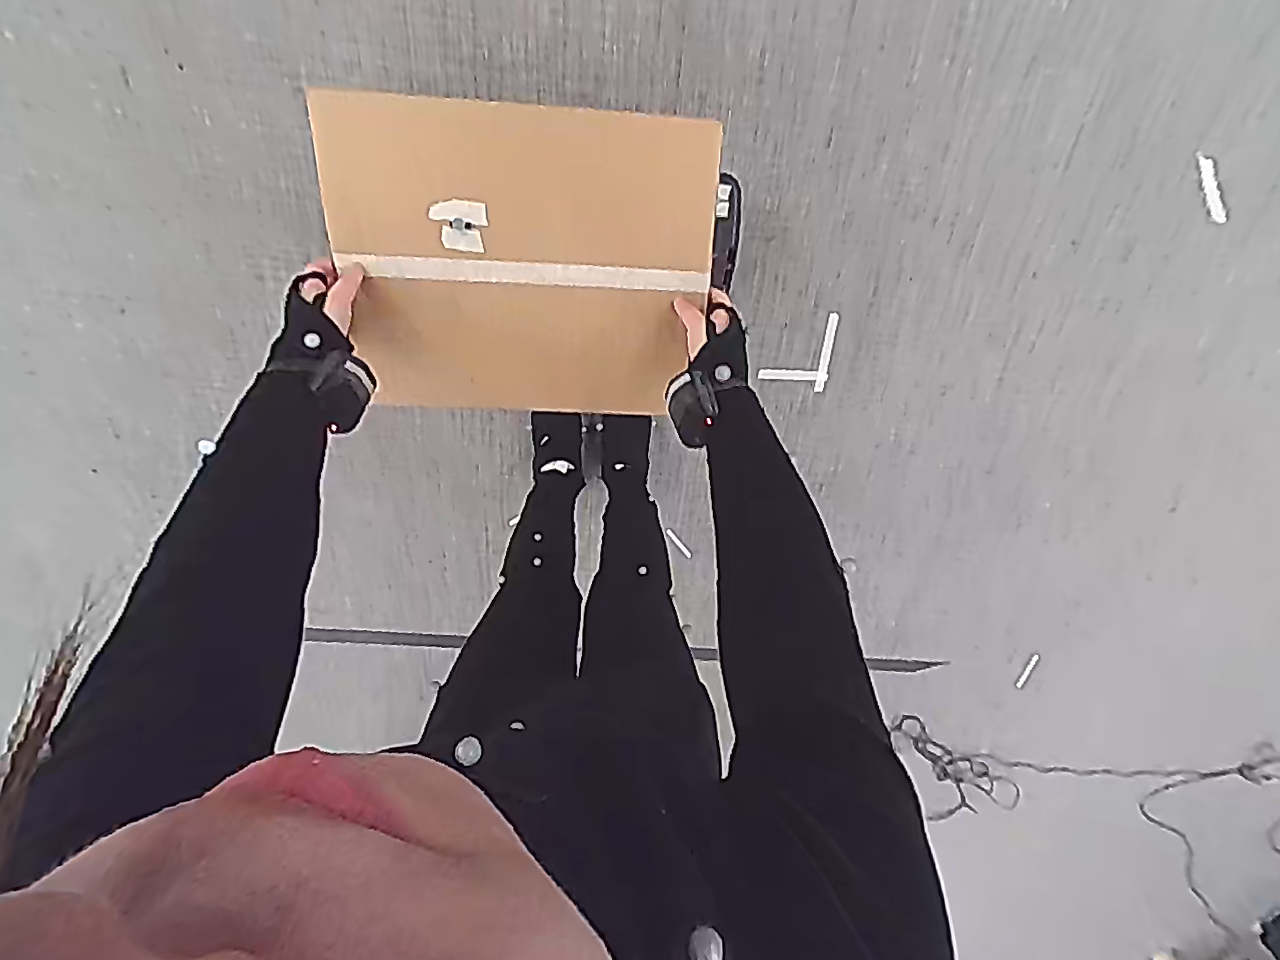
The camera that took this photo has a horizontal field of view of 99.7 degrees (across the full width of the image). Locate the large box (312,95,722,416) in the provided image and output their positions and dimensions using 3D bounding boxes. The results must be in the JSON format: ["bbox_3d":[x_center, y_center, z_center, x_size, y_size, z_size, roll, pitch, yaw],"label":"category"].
[{"bbox_3d":[-0.126,-0.284,0.718,0.408,0.320,0.320,2,114,-4],"label":"large box"}]
